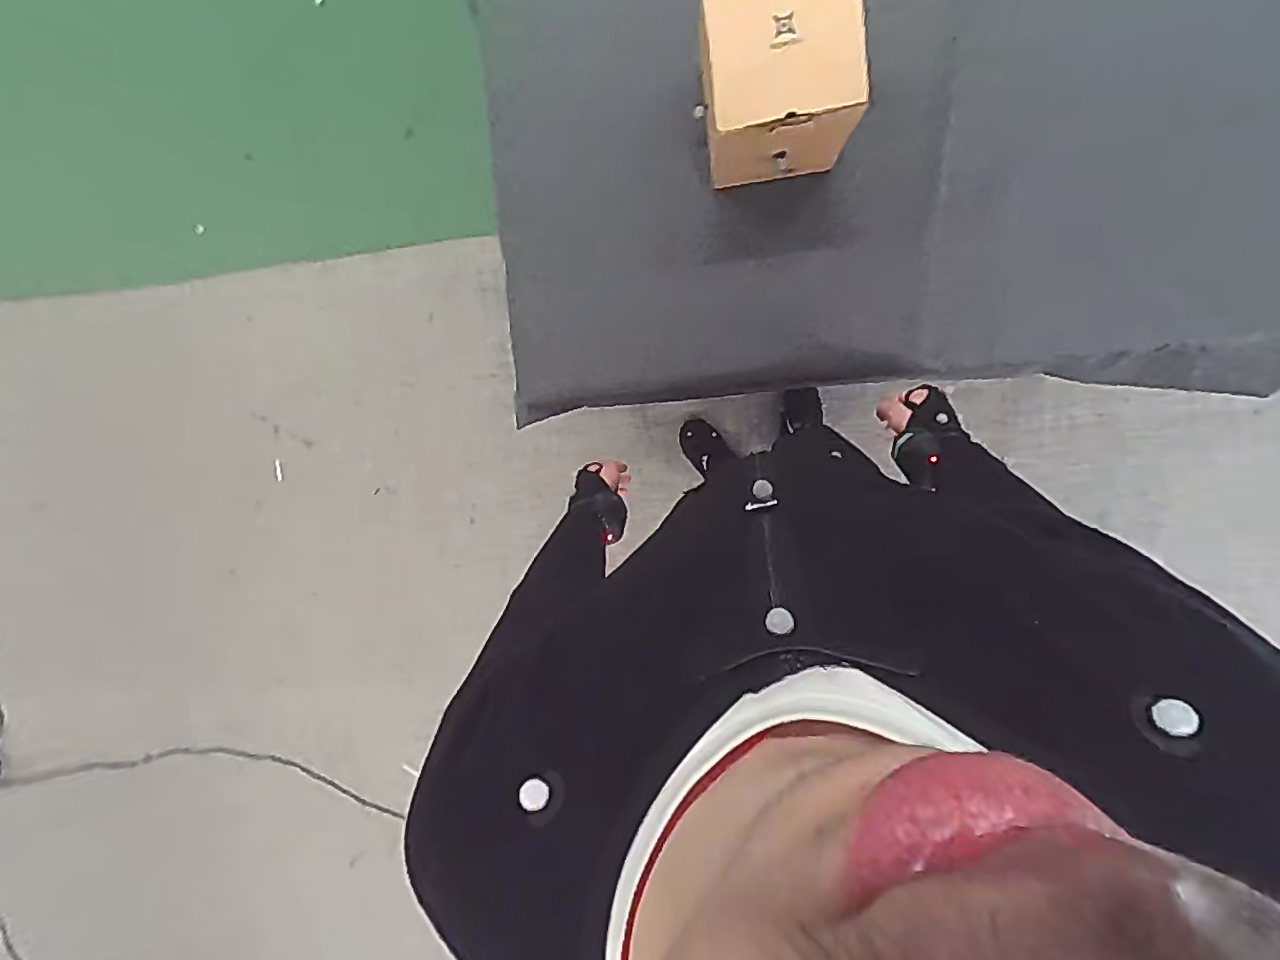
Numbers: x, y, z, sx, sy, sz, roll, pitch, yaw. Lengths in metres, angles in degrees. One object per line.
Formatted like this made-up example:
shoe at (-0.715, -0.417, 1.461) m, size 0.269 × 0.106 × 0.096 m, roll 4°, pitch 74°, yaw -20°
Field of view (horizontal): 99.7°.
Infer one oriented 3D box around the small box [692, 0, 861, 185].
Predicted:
small box at (0.162, -0.494, 0.674) m, size 0.168 × 0.176 × 0.179 m, roll -9°, pitch 97°, yaw 9°
